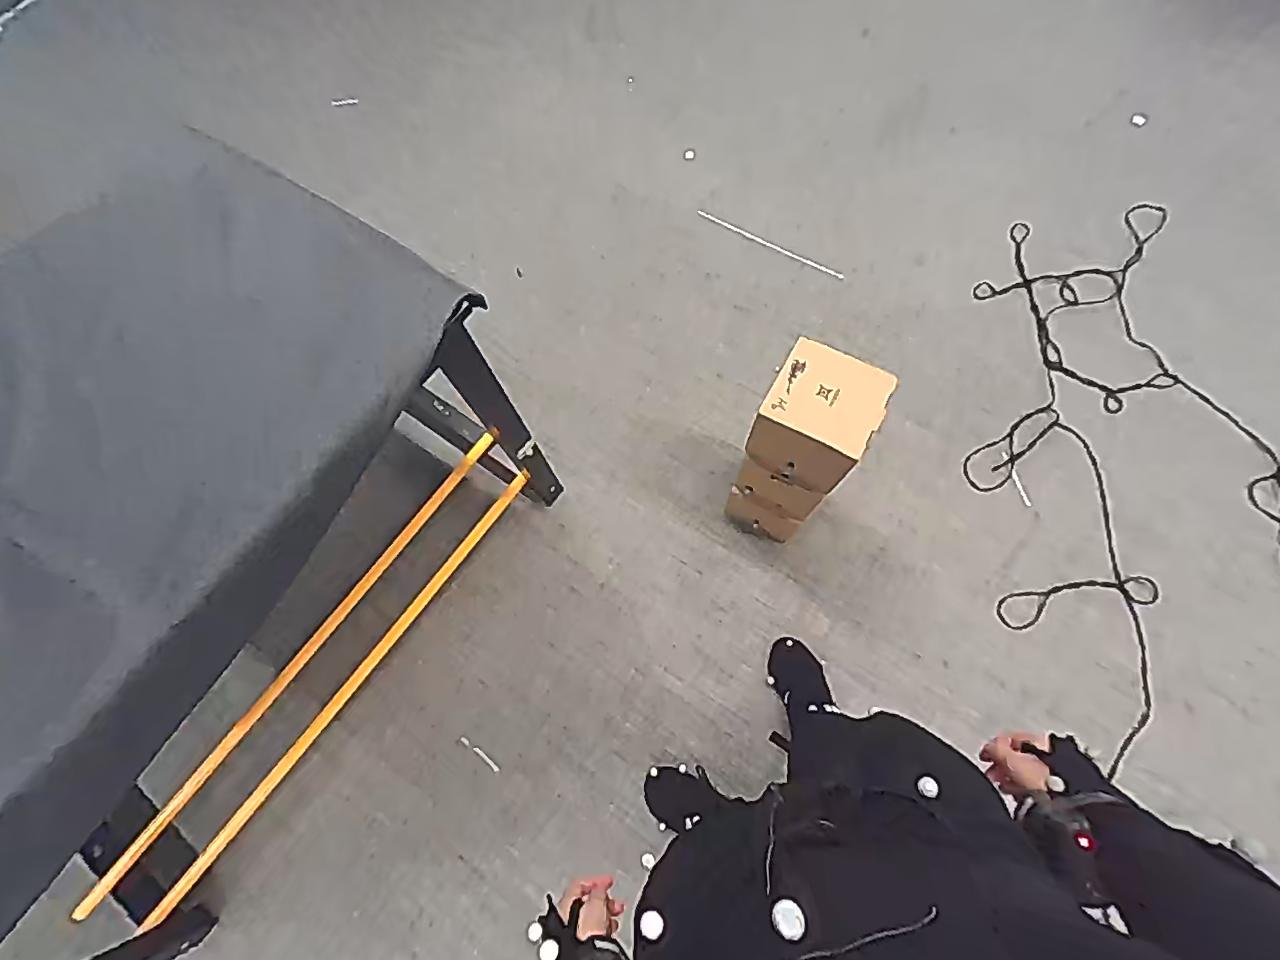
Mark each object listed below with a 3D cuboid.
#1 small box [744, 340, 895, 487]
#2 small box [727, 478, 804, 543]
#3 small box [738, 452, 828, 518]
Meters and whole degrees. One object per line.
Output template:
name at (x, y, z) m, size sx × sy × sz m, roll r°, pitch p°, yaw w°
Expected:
small box at (0.304, -0.105, 0.949) m, size 0.179 × 0.176 × 0.168 m, roll 29°, pitch 74°, yaw 12°
small box at (0.312, 0.020, 1.252) m, size 0.168 × 0.176 × 0.179 m, roll 27°, pitch 74°, yaw 13°
small box at (0.311, -0.045, 1.102) m, size 0.168 × 0.176 × 0.179 m, roll 28°, pitch 73°, yaw 12°
